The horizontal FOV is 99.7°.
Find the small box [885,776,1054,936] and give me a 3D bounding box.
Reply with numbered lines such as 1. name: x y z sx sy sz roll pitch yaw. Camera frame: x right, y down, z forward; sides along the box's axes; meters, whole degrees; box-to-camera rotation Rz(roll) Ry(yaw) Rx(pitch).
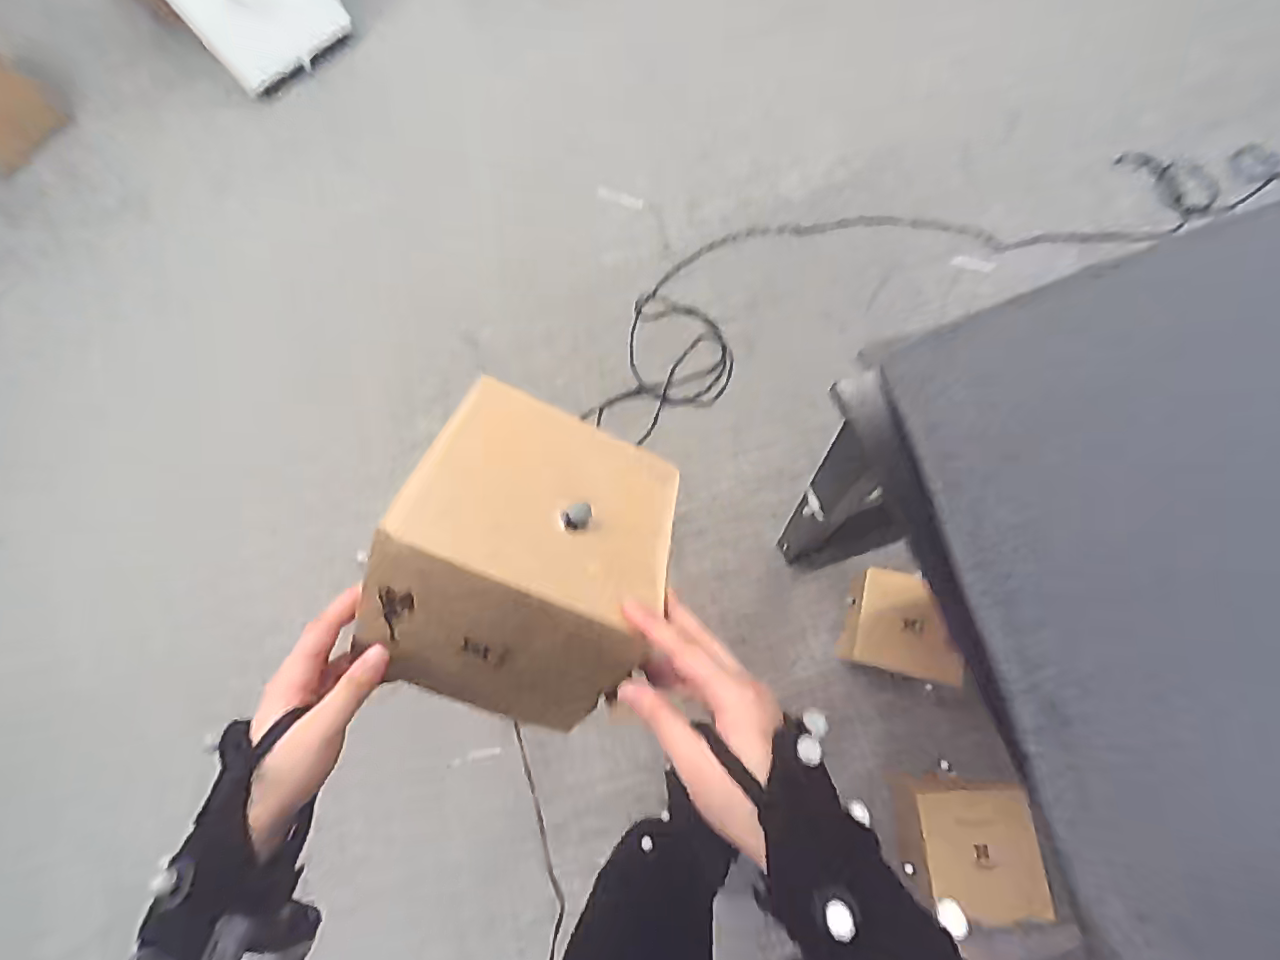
1. small box: 0.521 0.602 0.885 0.168 0.176 0.179 -6 71 6

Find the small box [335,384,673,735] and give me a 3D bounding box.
1. small box: -0.090 0.057 0.407 0.179 0.168 0.176 27 40 -12

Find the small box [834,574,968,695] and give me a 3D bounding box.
1. small box: 0.469 0.284 0.995 0.179 0.176 0.168 12 75 11
